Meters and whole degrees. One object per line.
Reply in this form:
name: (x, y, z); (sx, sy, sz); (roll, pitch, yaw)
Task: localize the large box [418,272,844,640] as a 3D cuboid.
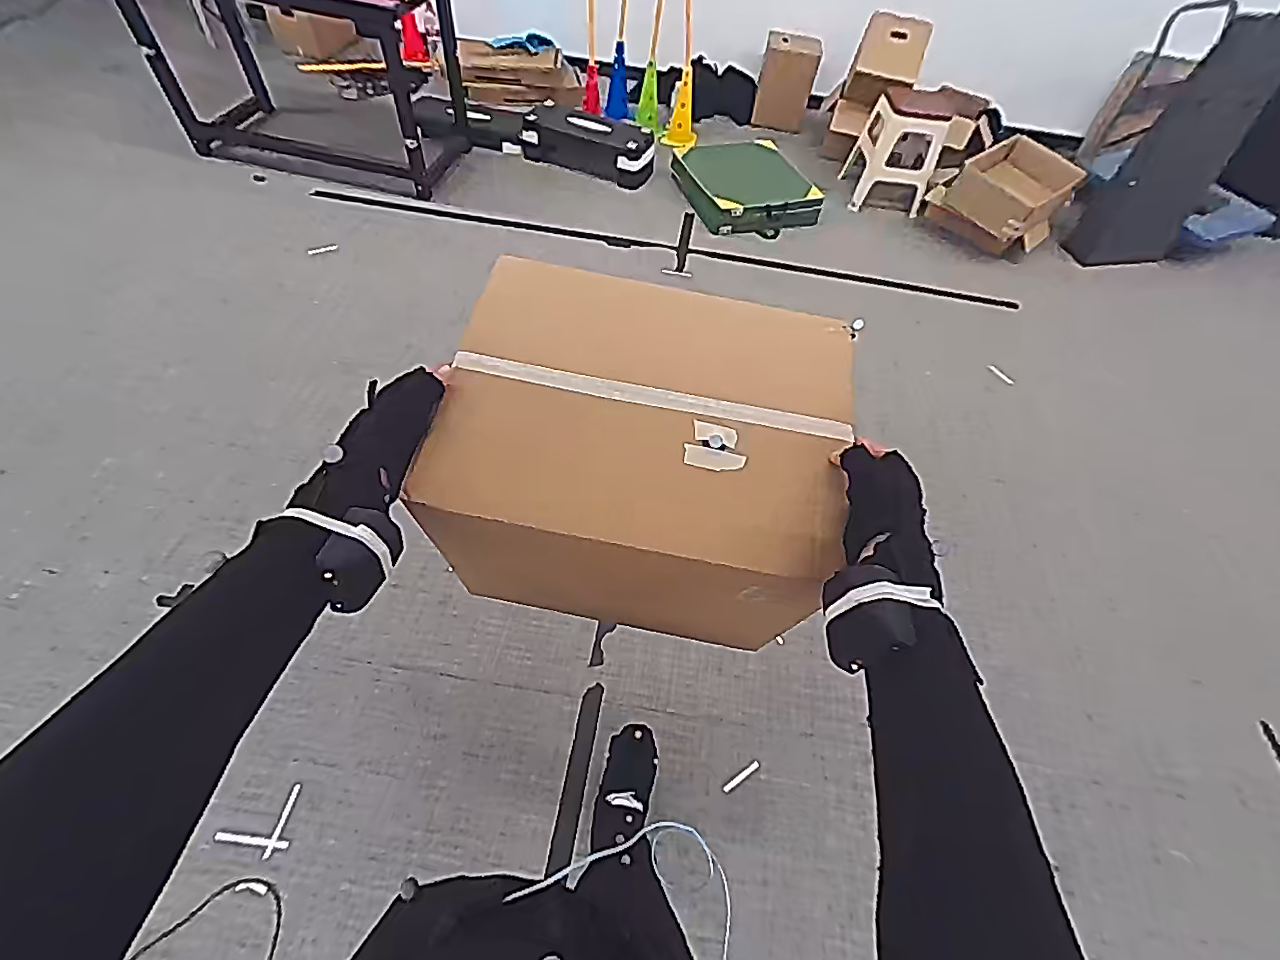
large box: (-0.001, -0.009, 0.690); (0.408, 0.320, 0.320); (11, 63, 0)
